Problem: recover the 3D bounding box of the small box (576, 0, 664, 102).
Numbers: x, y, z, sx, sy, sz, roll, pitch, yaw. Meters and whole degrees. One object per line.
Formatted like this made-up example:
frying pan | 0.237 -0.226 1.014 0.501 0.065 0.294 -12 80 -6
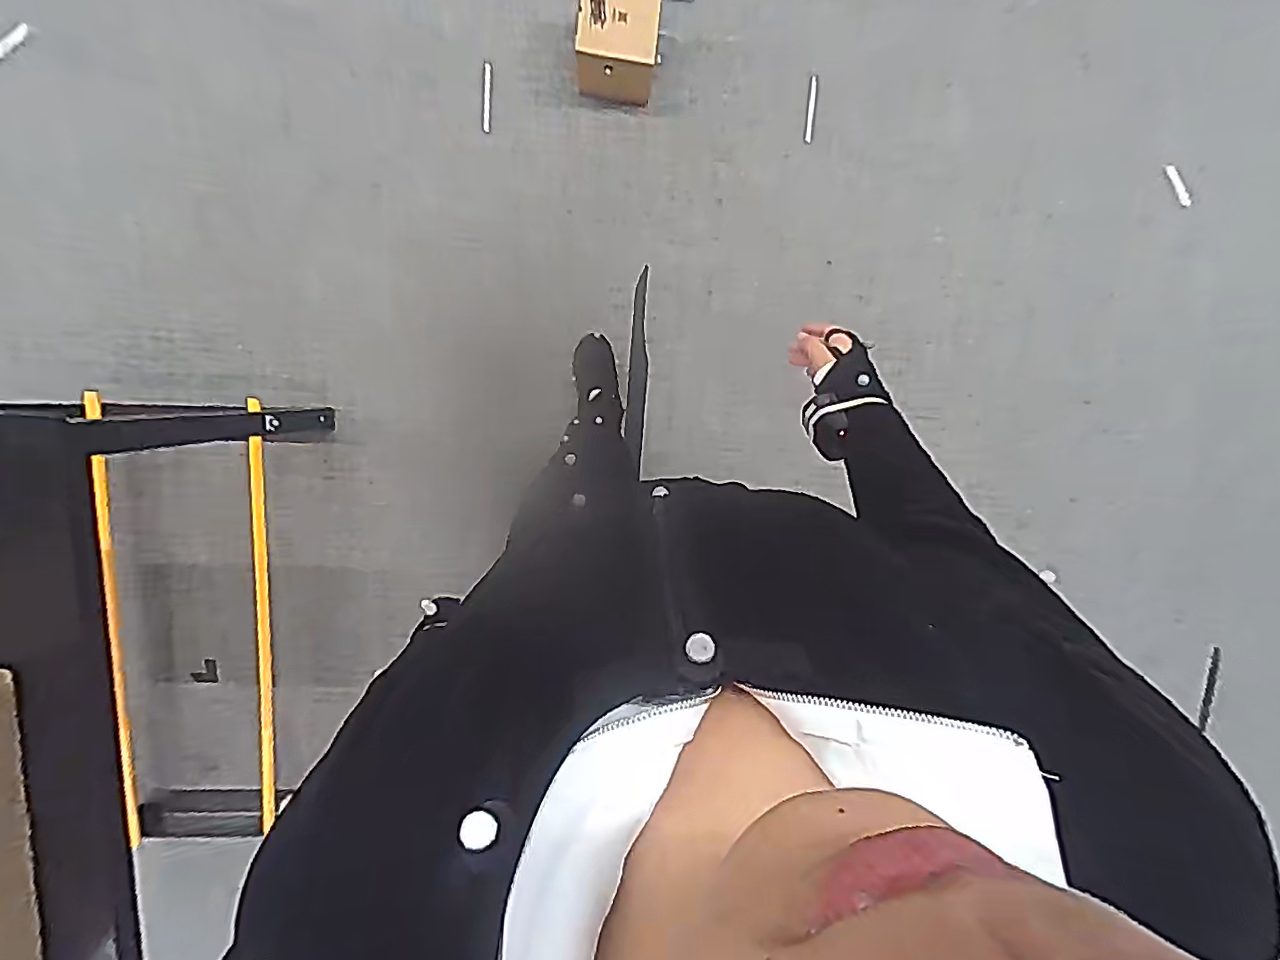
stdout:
small box | -0.046 -0.998 1.230 0.179 0.176 0.168 6 99 -5
